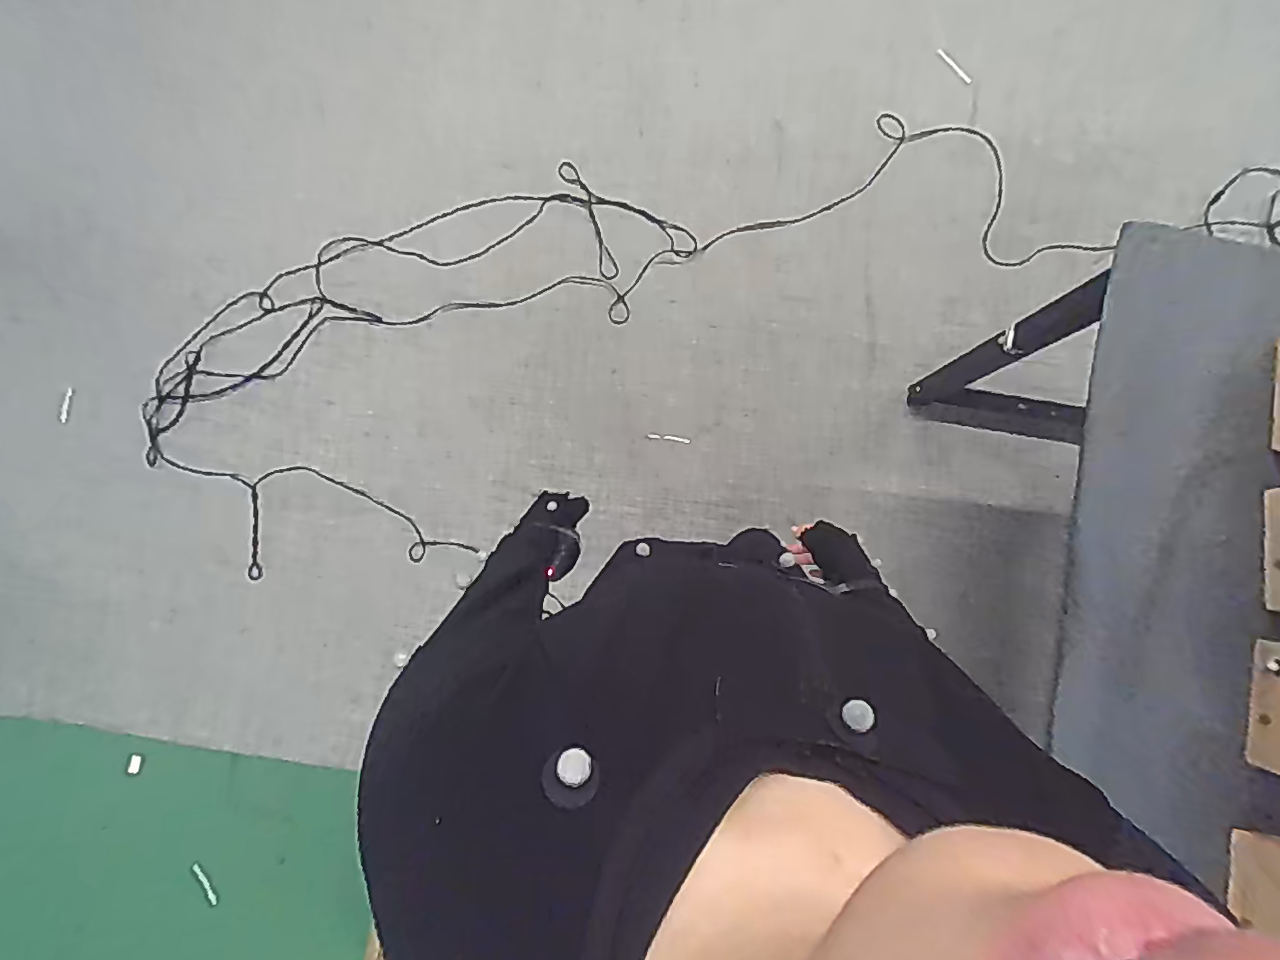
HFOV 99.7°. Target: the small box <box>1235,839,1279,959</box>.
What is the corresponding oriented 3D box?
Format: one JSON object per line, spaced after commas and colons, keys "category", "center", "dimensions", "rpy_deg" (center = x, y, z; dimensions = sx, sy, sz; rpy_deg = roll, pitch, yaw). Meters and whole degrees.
{"category": "small box", "center": [0.842, 0.542, 0.608], "dimensions": [0.179, 0.176, 0.168], "rpy_deg": [9, 85, 2]}
